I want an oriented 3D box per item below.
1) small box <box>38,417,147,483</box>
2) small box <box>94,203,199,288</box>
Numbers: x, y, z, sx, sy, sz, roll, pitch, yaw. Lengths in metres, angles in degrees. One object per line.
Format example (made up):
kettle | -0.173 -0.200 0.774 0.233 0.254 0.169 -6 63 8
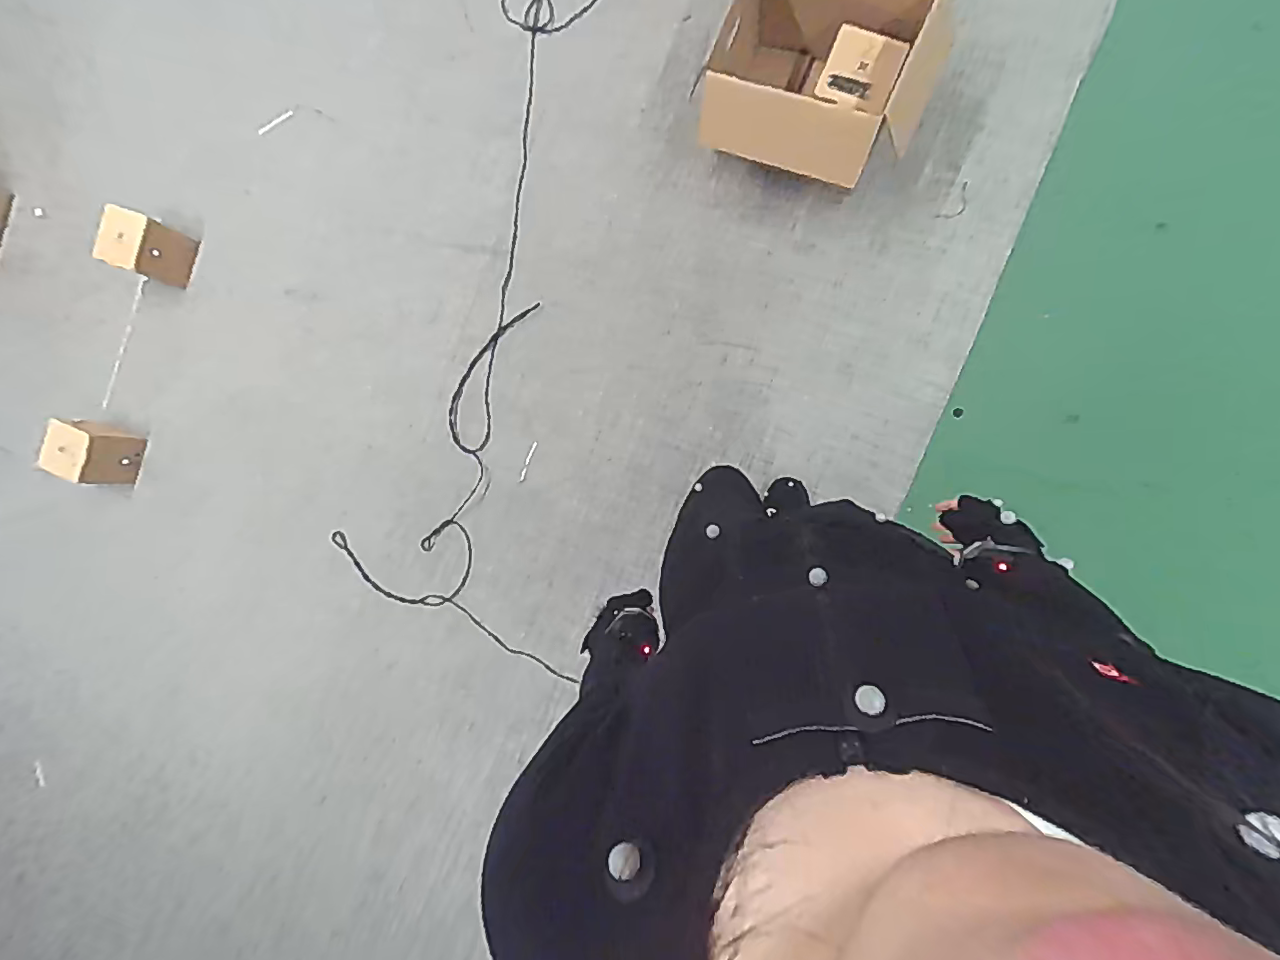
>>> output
small box | -1.784 -0.093 1.768 0.179 0.176 0.168 21 94 10
small box | -1.565 -0.741 1.724 0.168 0.176 0.179 21 94 9
